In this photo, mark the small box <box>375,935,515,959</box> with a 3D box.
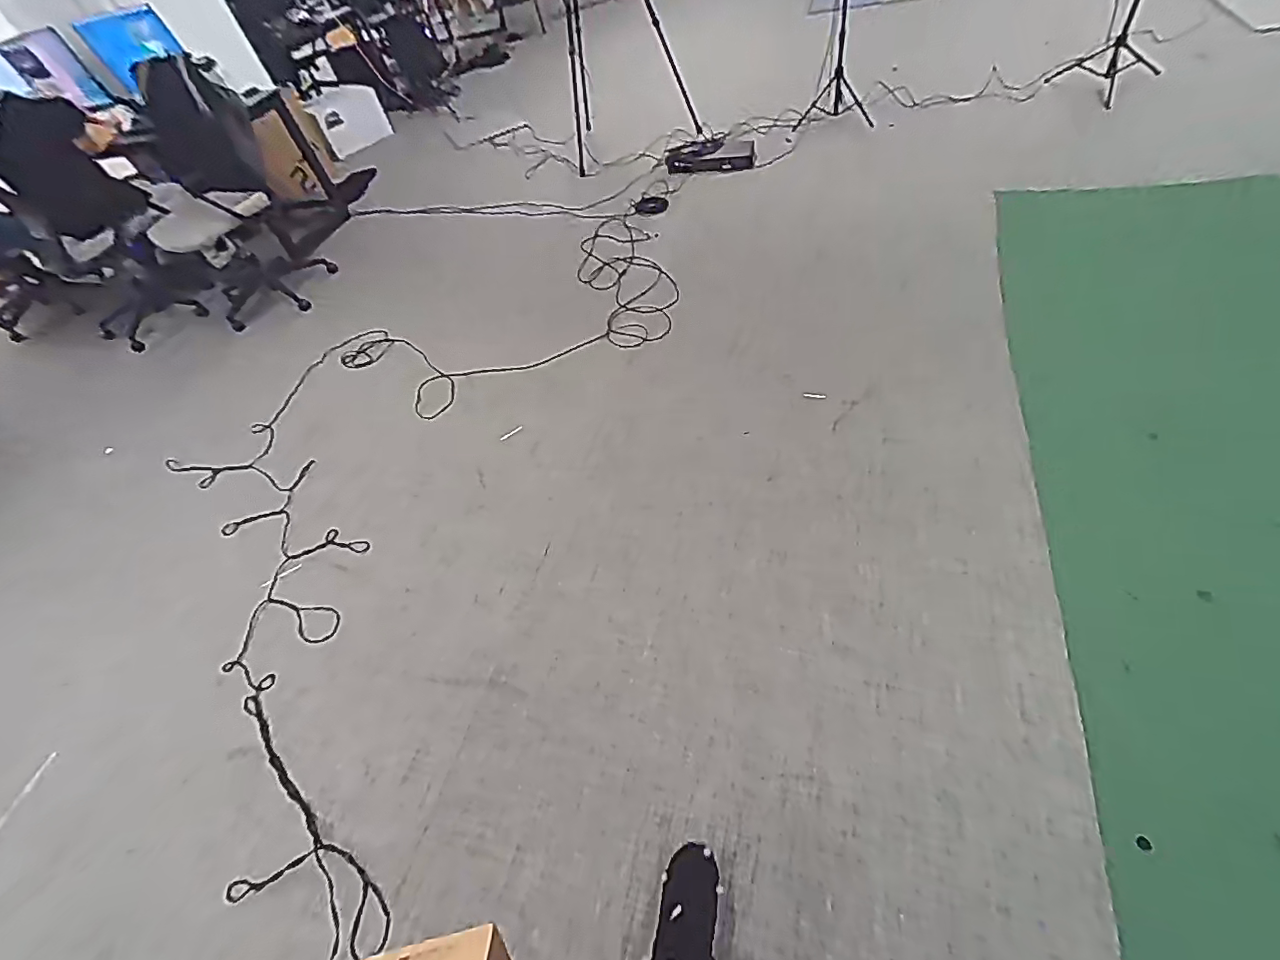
[{"bbox_3d":[-0.217,0.636,0.578,0.168,0.179,0.176,-15,15,-1],"label":"small box"}]
